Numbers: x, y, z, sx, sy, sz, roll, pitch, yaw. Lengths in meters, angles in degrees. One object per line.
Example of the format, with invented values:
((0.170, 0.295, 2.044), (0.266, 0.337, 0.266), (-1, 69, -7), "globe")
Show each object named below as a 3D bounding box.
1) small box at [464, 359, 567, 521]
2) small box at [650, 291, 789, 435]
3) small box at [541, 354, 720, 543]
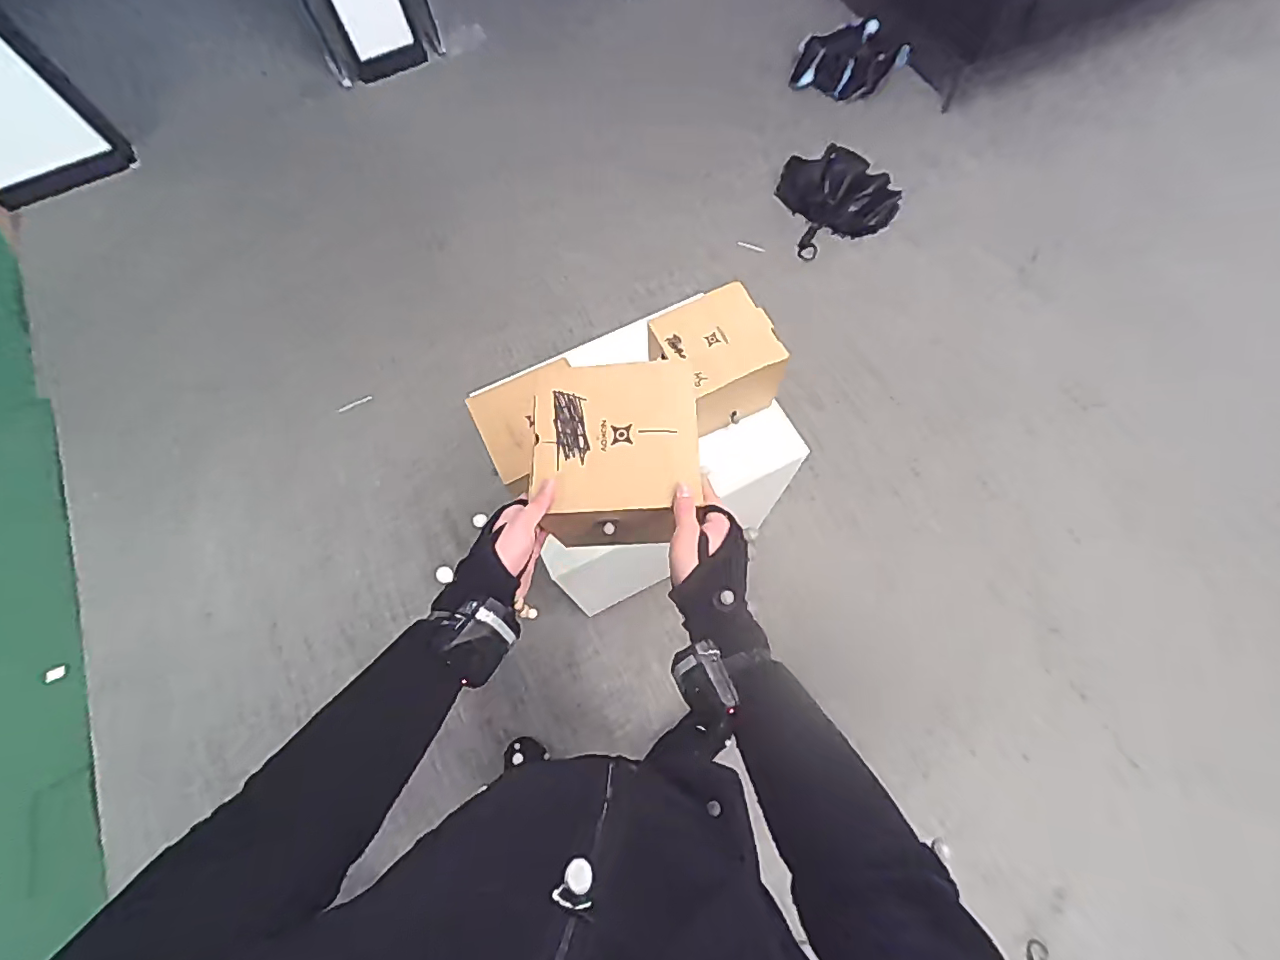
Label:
((-0.157, -0.058, 0.879), (0.179, 0.176, 0.168), (-26, 70, -11), "small box")
((0.123, -0.187, 0.936), (0.179, 0.176, 0.168), (-24, 71, -10), "small box")
((-0.008, -0.026, 0.621), (0.179, 0.176, 0.168), (-3, 71, 1), "small box")
